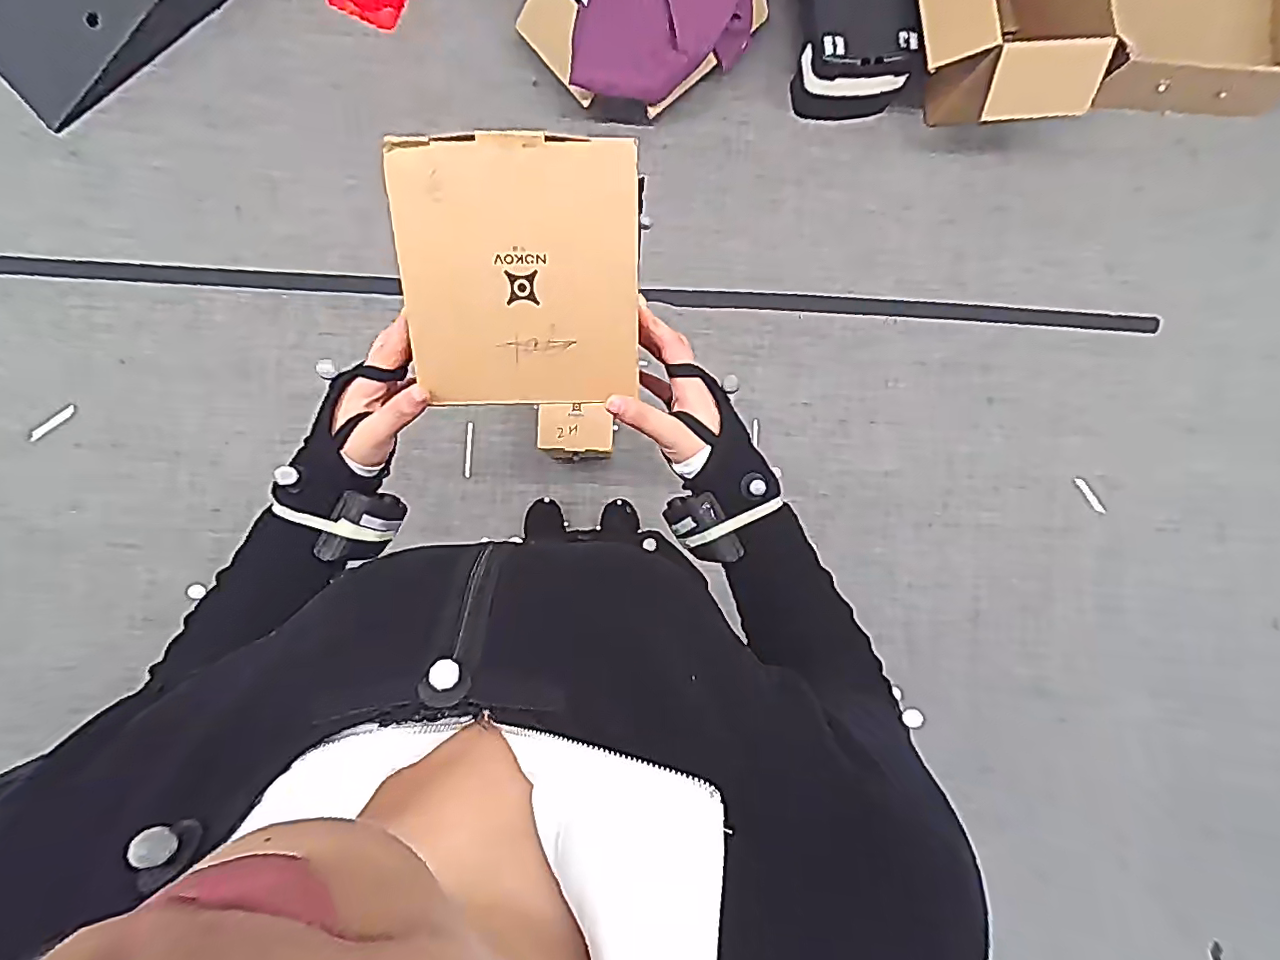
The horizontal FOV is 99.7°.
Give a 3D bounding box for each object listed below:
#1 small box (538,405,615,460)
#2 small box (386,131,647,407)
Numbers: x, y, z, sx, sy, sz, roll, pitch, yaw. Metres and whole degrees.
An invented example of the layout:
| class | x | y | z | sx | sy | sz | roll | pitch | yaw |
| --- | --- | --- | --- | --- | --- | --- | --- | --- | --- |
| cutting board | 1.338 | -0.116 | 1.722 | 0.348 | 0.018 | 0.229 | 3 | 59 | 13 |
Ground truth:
| class | x | y | z | sx | sy | sz | roll | pitch | yaw |
| --- | --- | --- | --- | --- | --- | --- | --- | --- | --- |
| small box | -0.143 | -0.143 | 1.259 | 0.168 | 0.176 | 0.179 | 2 | 89 | -3 |
| small box | -0.083 | -0.164 | 0.443 | 0.168 | 0.176 | 0.179 | -1 | 112 | -3 |
